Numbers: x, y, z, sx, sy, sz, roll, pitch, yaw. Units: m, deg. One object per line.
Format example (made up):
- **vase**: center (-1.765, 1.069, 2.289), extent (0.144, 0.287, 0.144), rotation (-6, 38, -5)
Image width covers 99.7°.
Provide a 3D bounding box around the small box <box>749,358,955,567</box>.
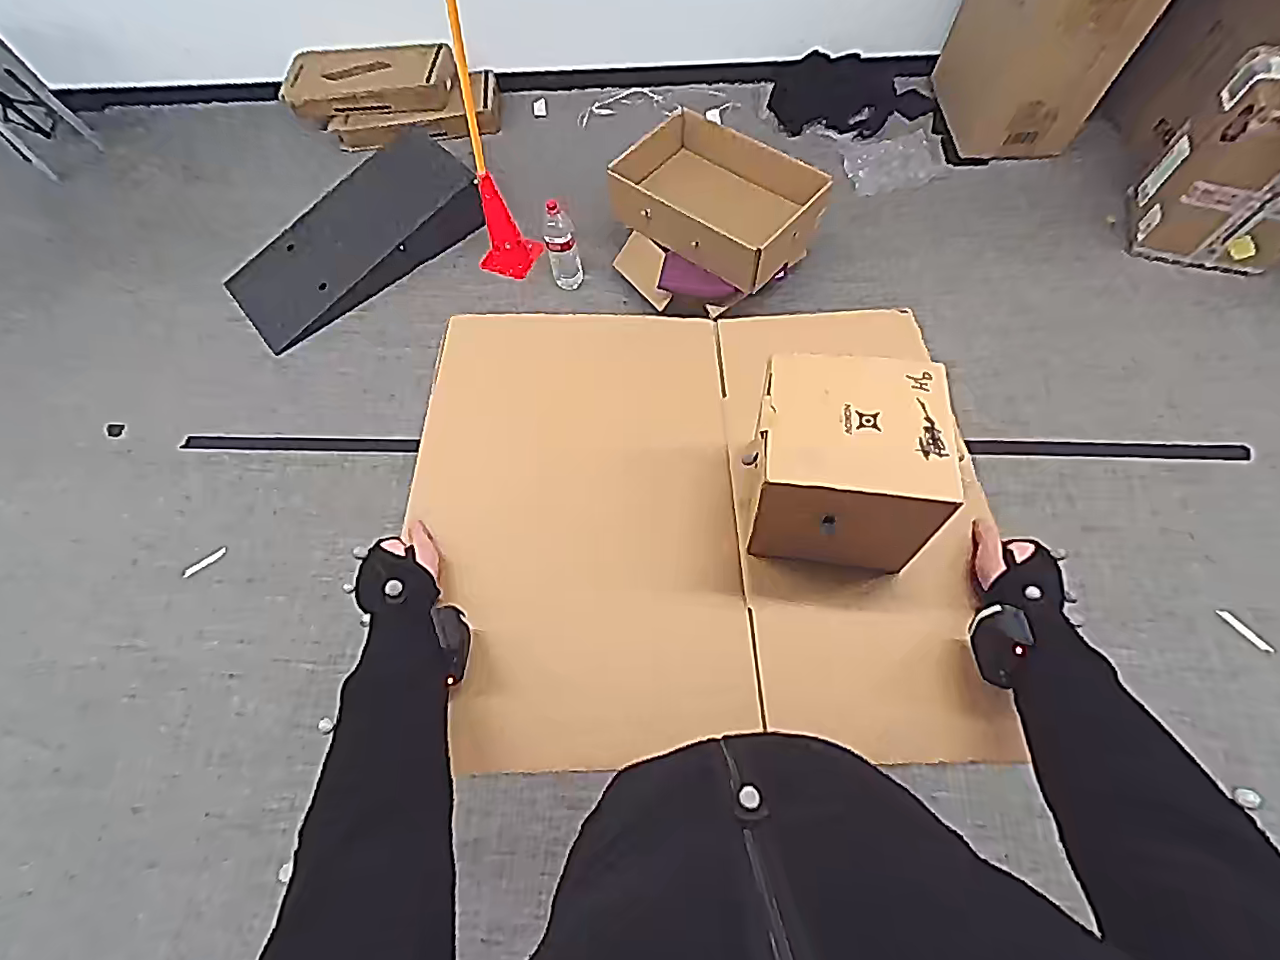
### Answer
- **small box**: center (0.218, -0.014, 0.602), extent (0.179, 0.176, 0.168), rotation (6, 61, 9)
